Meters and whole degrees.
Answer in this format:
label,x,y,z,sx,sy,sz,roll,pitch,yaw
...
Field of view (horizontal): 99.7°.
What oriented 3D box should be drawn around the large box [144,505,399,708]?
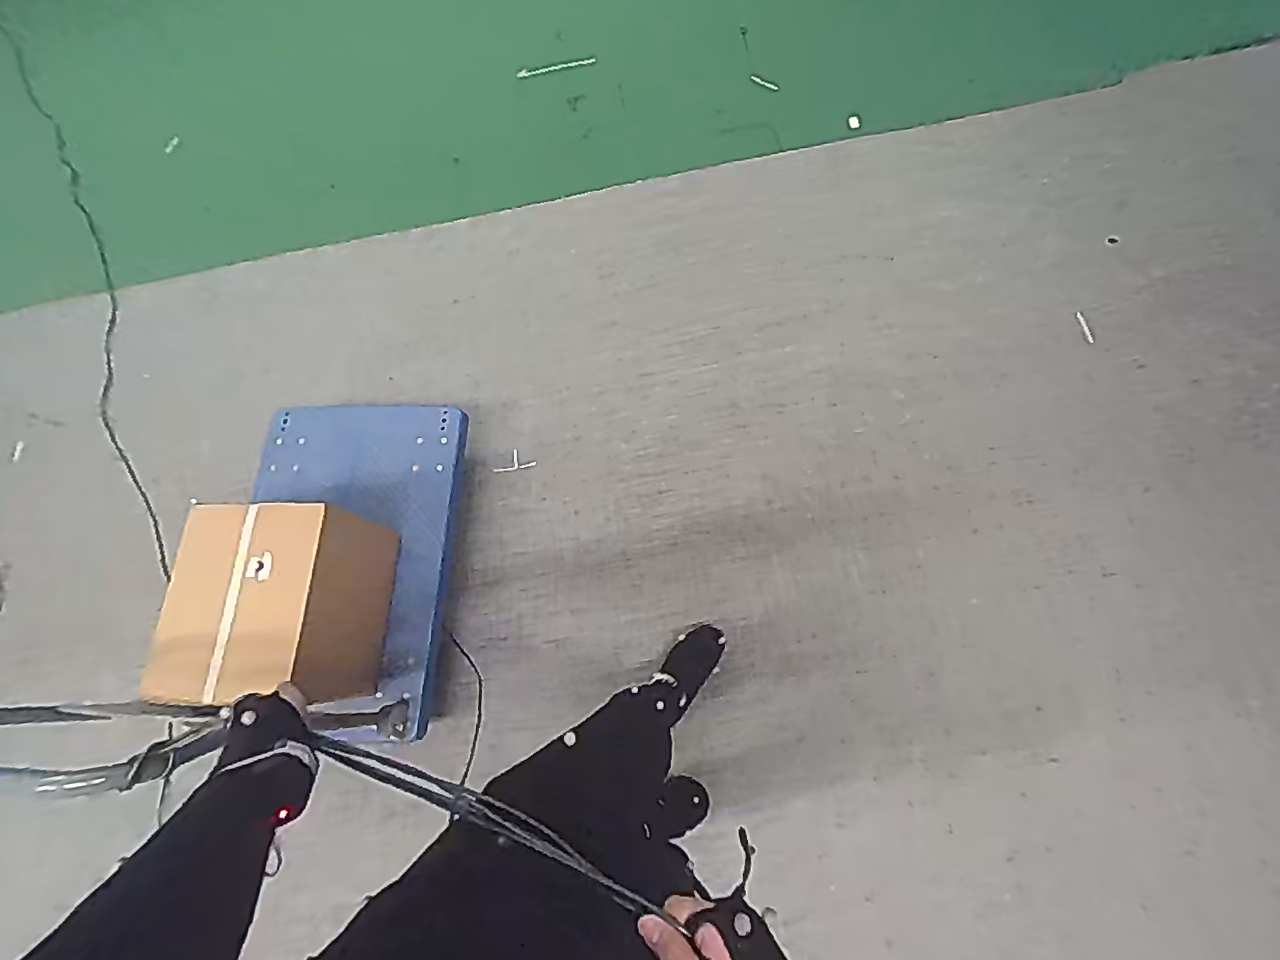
label,x,y,z,sx,sy,sz,roll,pitch,yaw
large box,-0.793,0.294,1.230,0.320,0.320,0.408,-1,71,5
